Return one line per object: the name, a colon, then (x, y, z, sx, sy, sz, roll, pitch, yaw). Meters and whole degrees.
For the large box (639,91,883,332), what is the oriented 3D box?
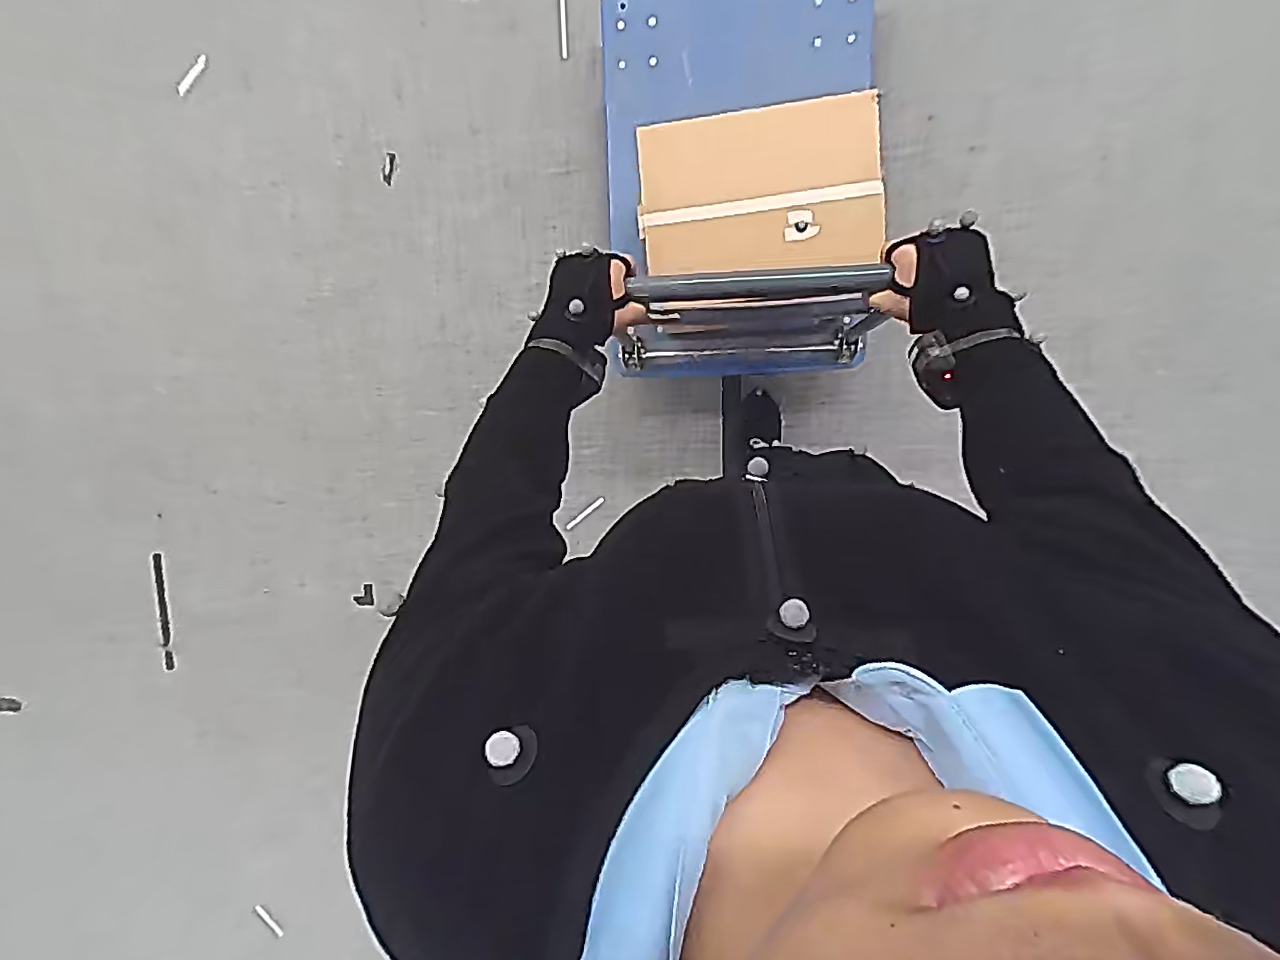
large box: (0.224, -0.500, 1.089, 0.408, 0.320, 0.320, -5, 97, 7)
